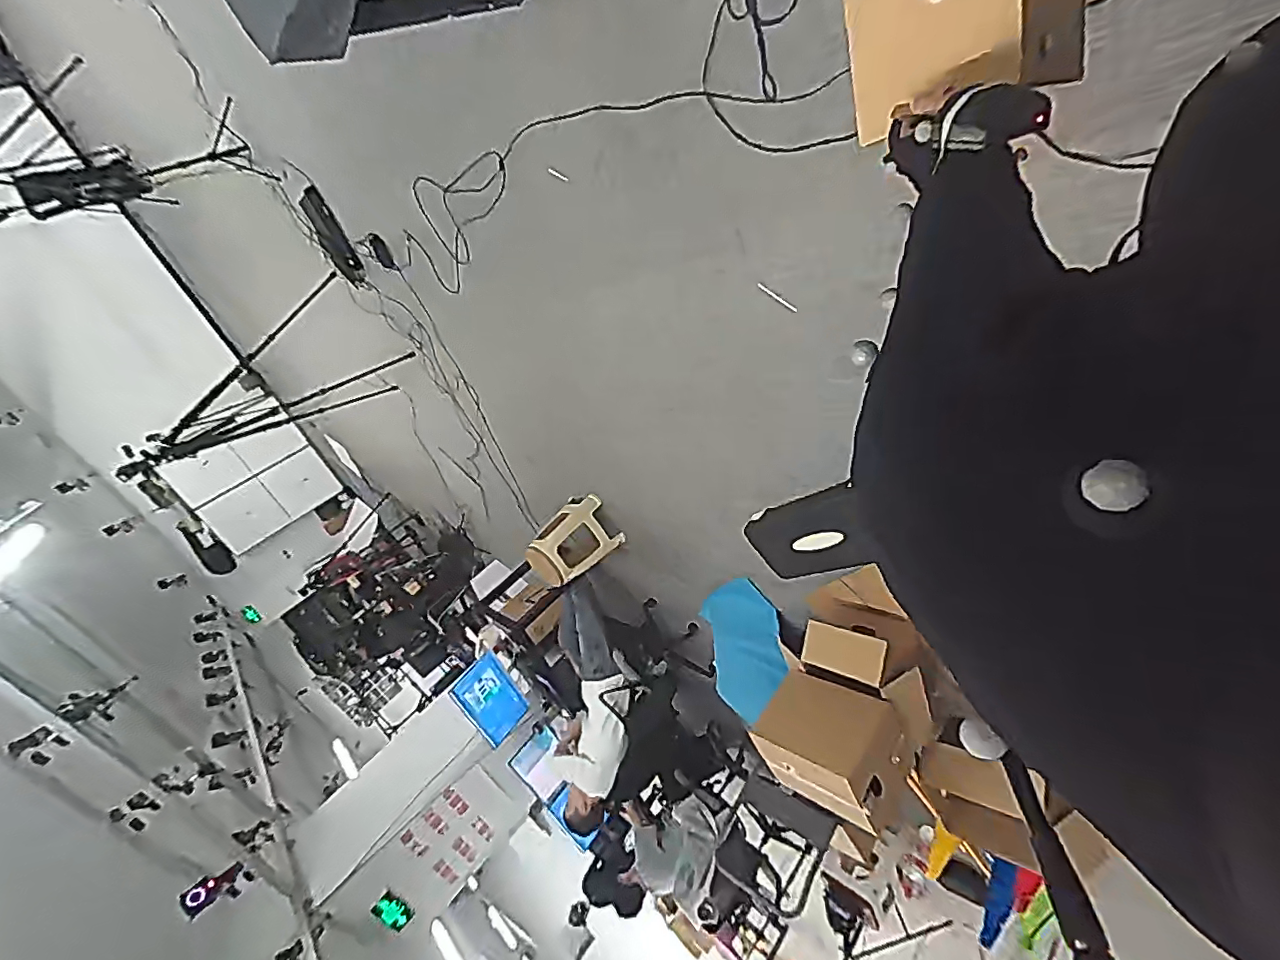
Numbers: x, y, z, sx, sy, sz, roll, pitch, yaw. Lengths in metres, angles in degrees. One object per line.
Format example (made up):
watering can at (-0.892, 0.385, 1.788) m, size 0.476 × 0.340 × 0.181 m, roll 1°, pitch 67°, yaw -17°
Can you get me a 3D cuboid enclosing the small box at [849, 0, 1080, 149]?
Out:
small box at (0.349, -0.487, 0.579) m, size 0.168 × 0.179 × 0.176 m, roll 13°, pitch 128°, yaw 51°
